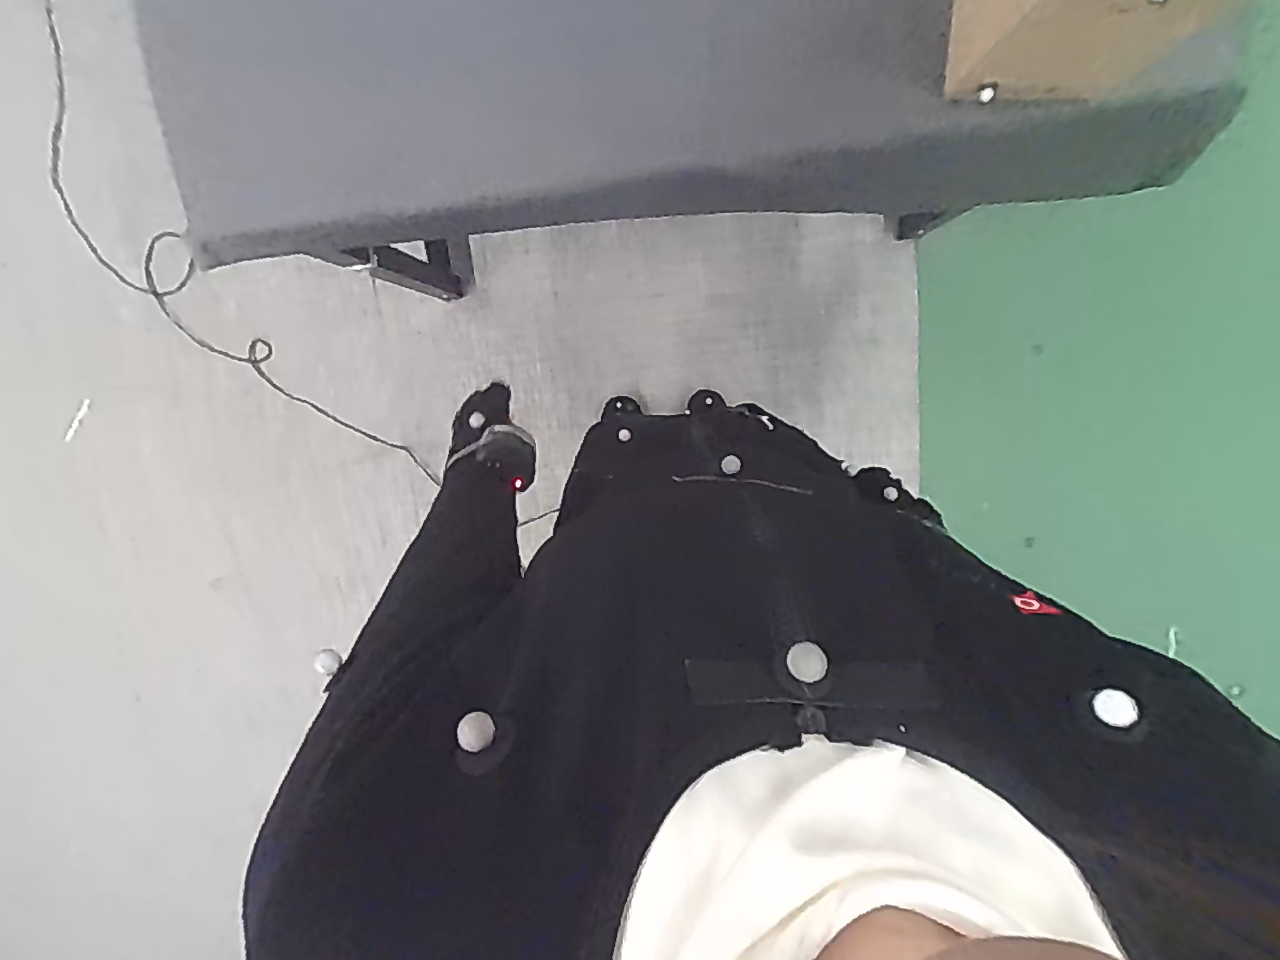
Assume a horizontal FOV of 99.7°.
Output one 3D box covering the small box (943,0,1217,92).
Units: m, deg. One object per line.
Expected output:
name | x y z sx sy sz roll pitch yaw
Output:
small box | 0.412 -0.498 0.507 0.168 0.176 0.179 2 100 2
